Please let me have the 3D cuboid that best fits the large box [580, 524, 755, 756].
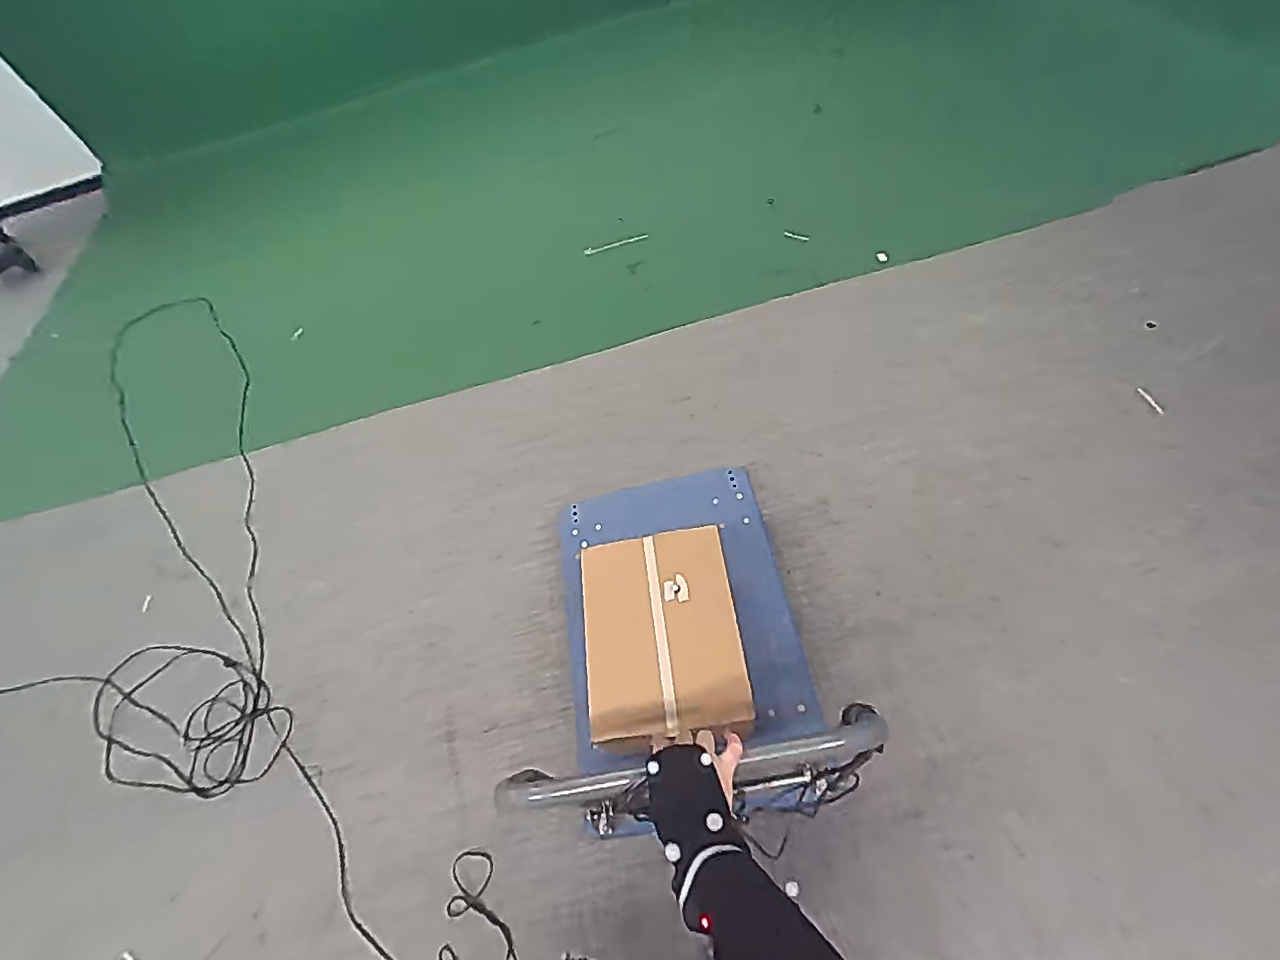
[{"bbox_3d":[0.062,0.367,1.219,0.320,0.320,0.408,-10,57,4],"label":"large box"}]
